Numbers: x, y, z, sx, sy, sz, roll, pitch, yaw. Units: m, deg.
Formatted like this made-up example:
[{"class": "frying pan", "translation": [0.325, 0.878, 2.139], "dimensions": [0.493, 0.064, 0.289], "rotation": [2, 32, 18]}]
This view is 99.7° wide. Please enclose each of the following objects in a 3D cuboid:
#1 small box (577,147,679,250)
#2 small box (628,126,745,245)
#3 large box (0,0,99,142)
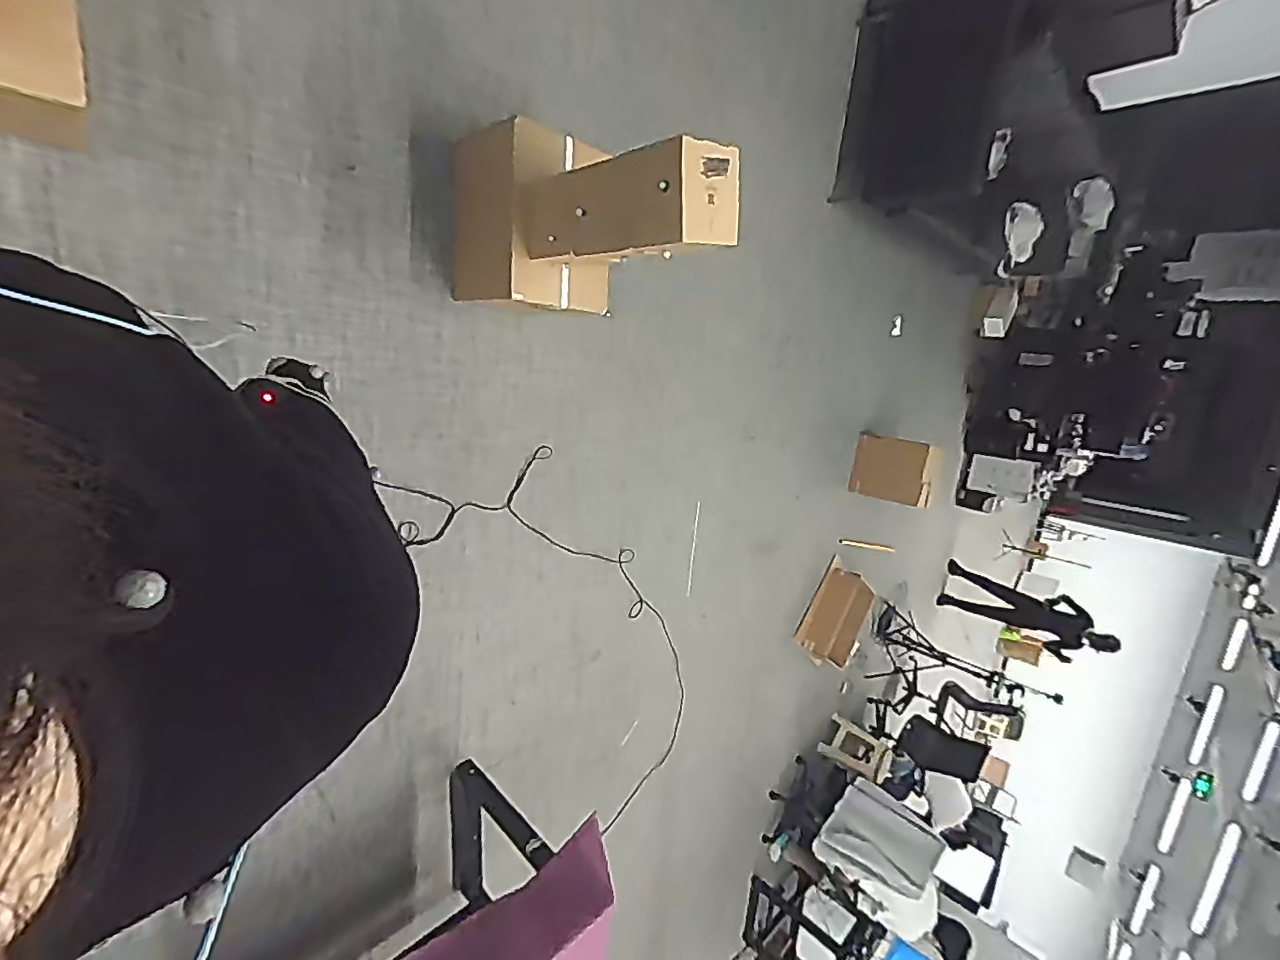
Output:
[{"class": "small box", "translation": [-0.024, -0.604, 1.184], "dimensions": [0.168, 0.176, 0.179], "rotation": [-18, 116, -39]}, {"class": "small box", "translation": [0.088, -0.568, 1.068], "dimensions": [0.168, 0.176, 0.179], "rotation": [-19, 116, -39]}, {"class": "large box", "translation": [-0.995, -0.760, 0.743], "dimensions": [0.320, 0.320, 0.408], "rotation": [-8, 108, -44]}]
